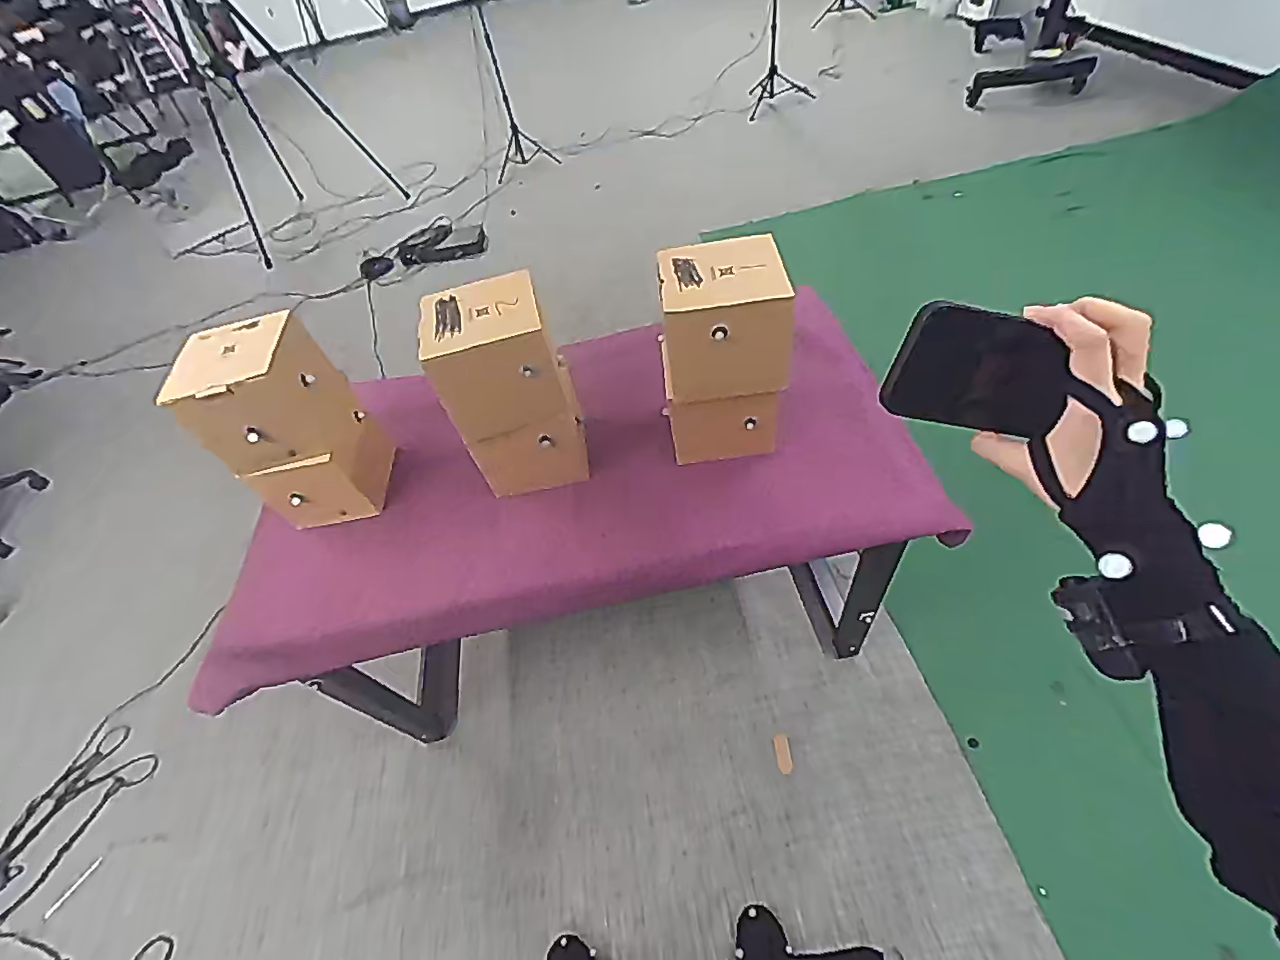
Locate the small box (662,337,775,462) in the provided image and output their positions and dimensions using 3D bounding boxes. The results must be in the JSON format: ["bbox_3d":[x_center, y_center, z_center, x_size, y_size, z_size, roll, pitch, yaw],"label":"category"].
[{"bbox_3d":[0.135,-0.150,0.959,0.179,0.176,0.168,-6,51,7],"label":"small box"}]

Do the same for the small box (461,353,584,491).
[{"bbox_3d":[-0.202,-0.100,0.980,0.179,0.176,0.168,-11,51,2],"label":"small box"}]

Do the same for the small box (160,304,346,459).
[{"bbox_3d":[-0.612,-0.152,0.886,0.168,0.176,0.179,-14,52,-1],"label":"small box"}]

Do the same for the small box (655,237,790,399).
[{"bbox_3d":[0.122,-0.239,0.822,0.179,0.176,0.168,-5,51,5],"label":"small box"}]

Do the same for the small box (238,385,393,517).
[{"bbox_3d":[-0.588,-0.045,1.009,0.168,0.176,0.179,-10,51,3],"label":"small box"}]
